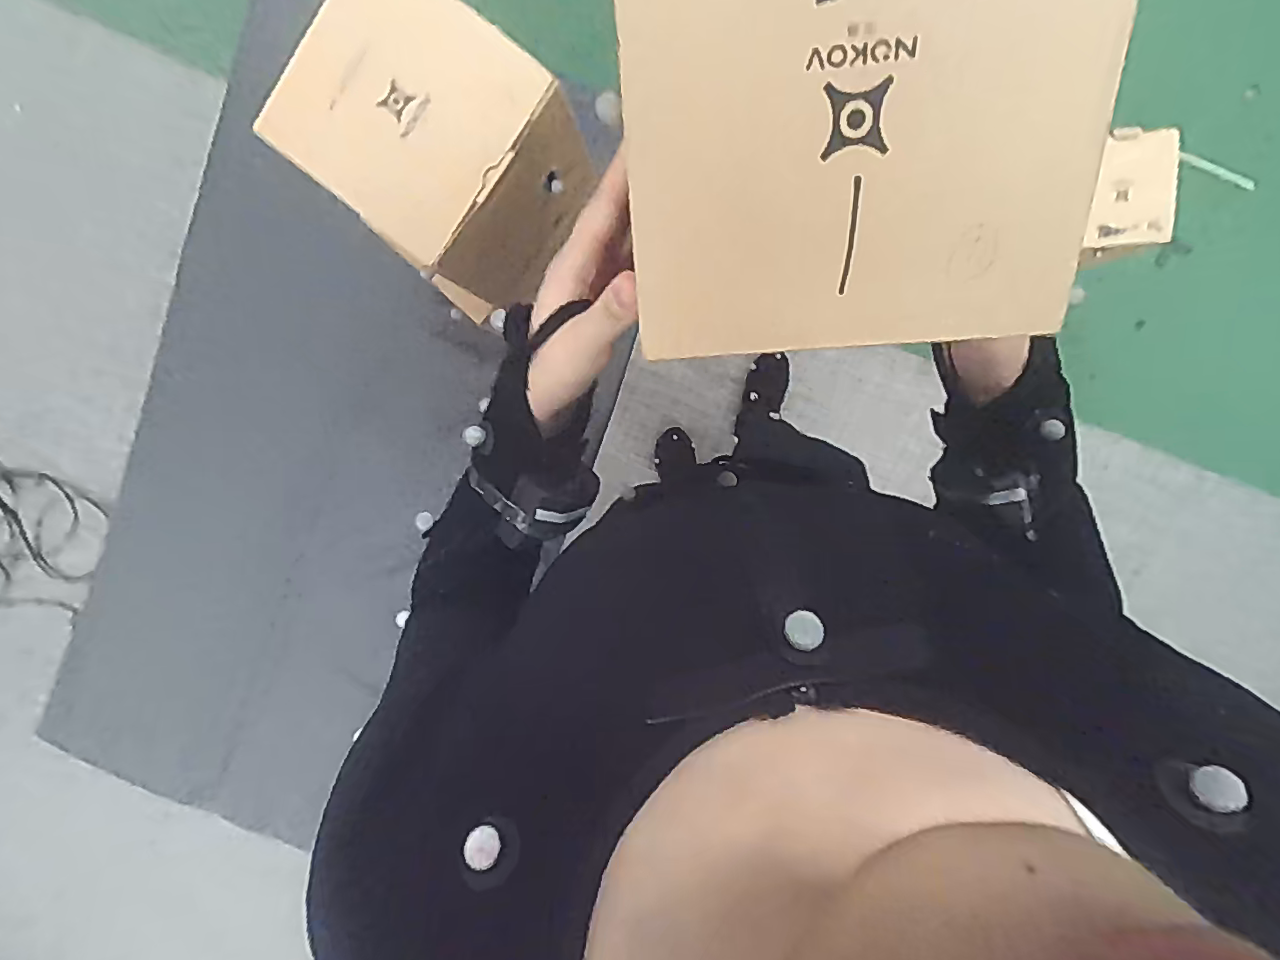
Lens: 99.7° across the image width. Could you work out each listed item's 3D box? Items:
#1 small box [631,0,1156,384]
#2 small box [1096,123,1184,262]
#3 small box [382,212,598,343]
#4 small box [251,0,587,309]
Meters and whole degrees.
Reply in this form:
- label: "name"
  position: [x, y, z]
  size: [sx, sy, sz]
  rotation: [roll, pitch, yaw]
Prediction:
- label: "small box"
  position: [0.085, -0.151, 0.258]
  size: [0.168, 0.176, 0.179]
  rotation: [-2, 112, 6]
- label: "small box"
  position: [0.792, -0.488, 0.952]
  size: [0.168, 0.176, 0.179]
  rotation: [-3, 98, 5]
- label: "small box"
  position: [-0.171, -0.279, 0.634]
  size: [0.179, 0.176, 0.168]
  rotation: [42, 98, 0]
- label: "small box"
  position: [-0.167, -0.270, 0.470]
  size: [0.179, 0.176, 0.168]
  rotation: [37, 97, 1]
